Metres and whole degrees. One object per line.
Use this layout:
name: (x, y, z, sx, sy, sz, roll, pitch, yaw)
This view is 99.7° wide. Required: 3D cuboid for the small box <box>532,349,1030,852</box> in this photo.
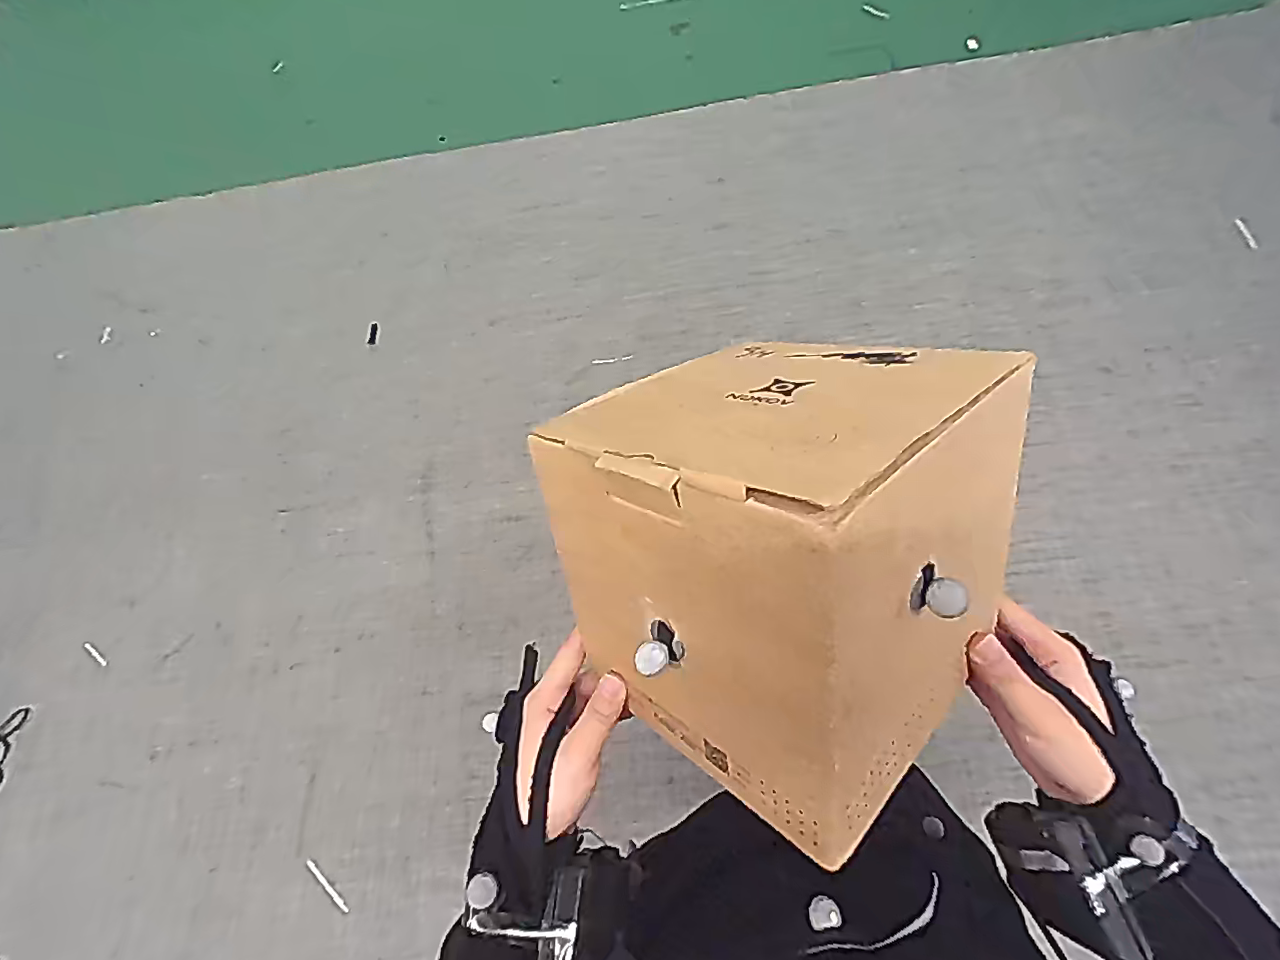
small box: (0.075, 0.037, 0.286, 0.179, 0.176, 0.168, -28, 30, -33)
